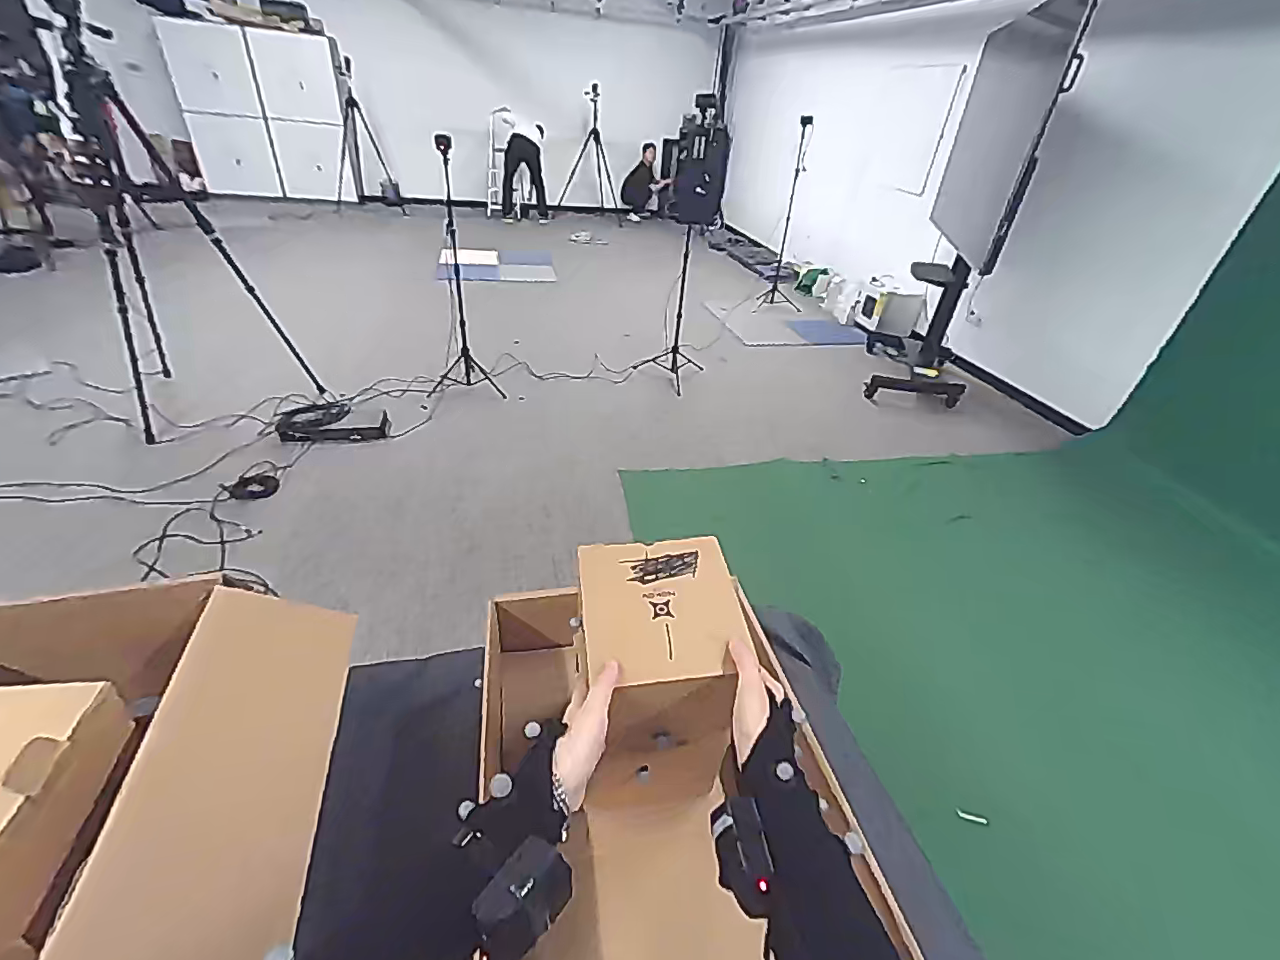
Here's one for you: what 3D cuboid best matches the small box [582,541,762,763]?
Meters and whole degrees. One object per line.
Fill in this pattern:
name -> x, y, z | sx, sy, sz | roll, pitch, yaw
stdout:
small box -> 0.020, 0.192, 0.615 | 0.168, 0.176, 0.179 | -3, 43, -8

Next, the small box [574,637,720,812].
small box -> 0.006, 0.321, 0.730 | 0.179, 0.176, 0.168 | -4, 39, -10
